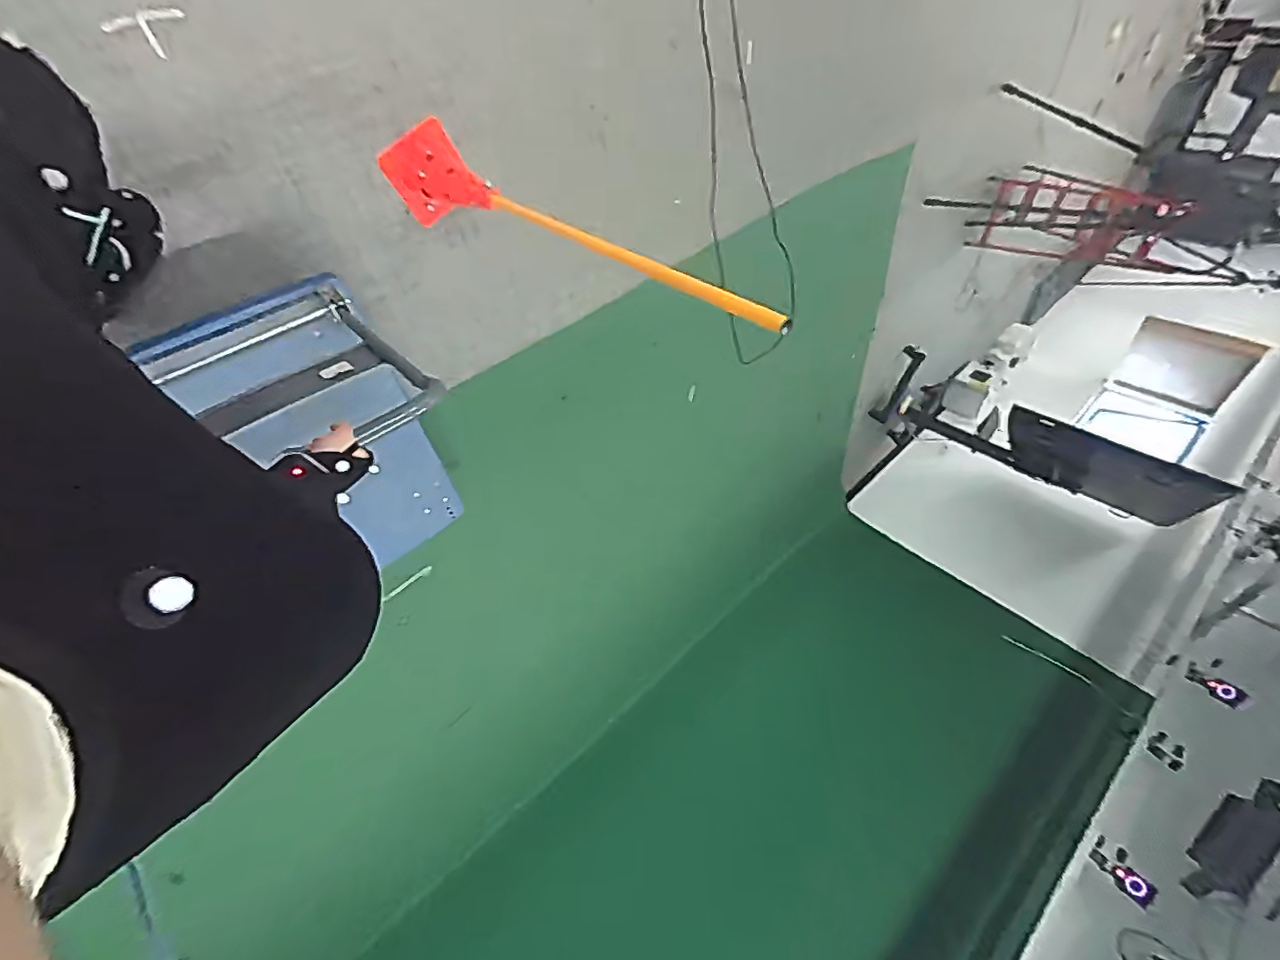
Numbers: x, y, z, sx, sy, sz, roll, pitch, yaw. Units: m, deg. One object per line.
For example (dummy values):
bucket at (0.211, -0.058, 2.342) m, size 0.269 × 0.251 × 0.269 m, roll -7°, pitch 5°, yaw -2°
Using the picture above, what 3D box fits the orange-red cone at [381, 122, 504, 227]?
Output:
orange-red cone at (-0.445, -0.724, 1.339) m, size 0.199 × 0.360 × 0.198 m, roll -46°, pitch 145°, yaw -12°
